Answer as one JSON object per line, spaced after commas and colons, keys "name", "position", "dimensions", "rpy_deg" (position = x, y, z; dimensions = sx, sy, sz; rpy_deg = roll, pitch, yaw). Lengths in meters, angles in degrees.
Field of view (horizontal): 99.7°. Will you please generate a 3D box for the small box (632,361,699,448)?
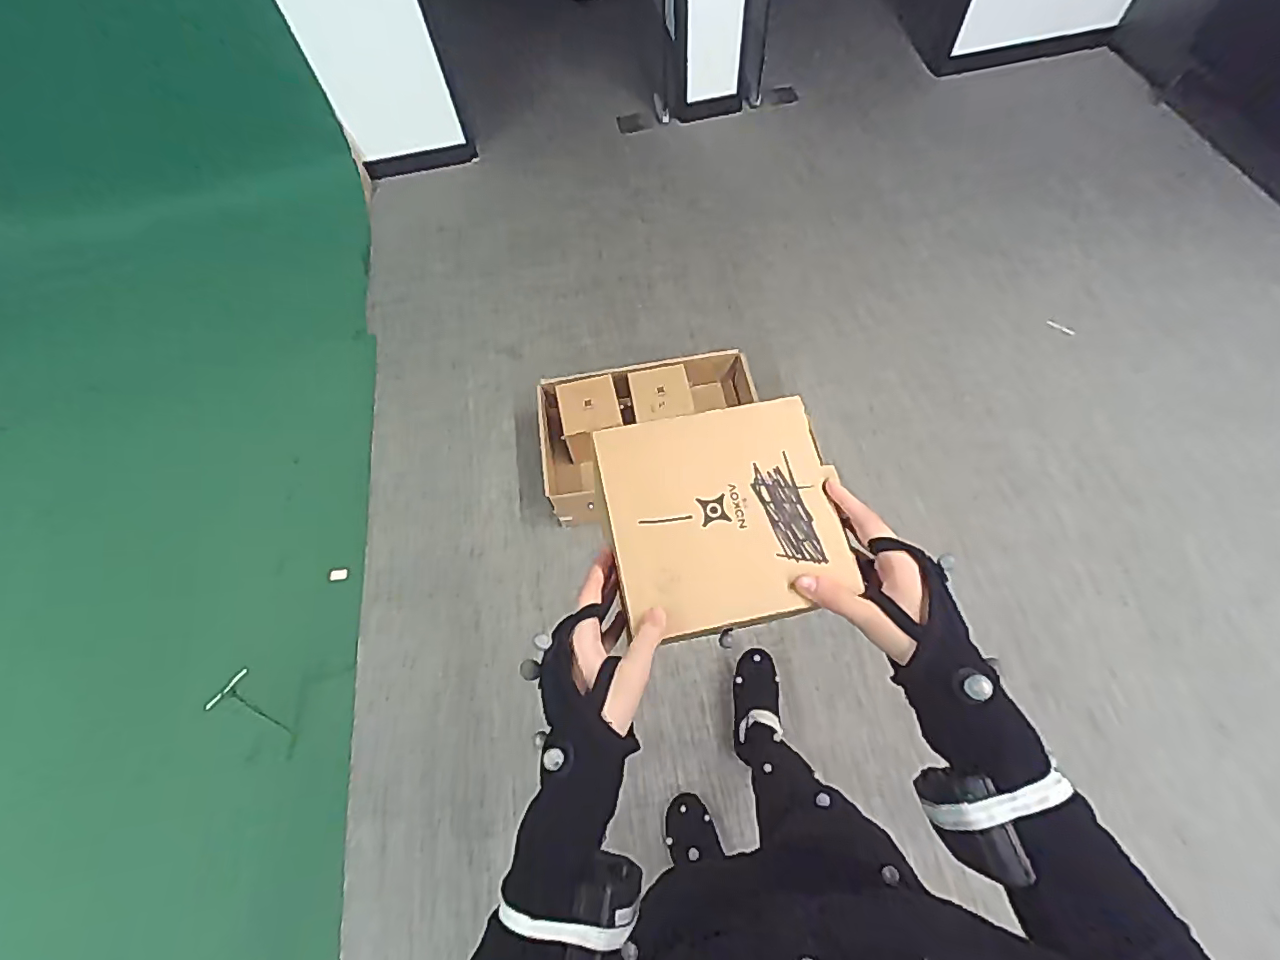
{"name": "small box", "position": [0.074, -0.217, 1.574], "dimensions": [0.168, 0.176, 0.179], "rpy_deg": [-10, 64, 1]}
